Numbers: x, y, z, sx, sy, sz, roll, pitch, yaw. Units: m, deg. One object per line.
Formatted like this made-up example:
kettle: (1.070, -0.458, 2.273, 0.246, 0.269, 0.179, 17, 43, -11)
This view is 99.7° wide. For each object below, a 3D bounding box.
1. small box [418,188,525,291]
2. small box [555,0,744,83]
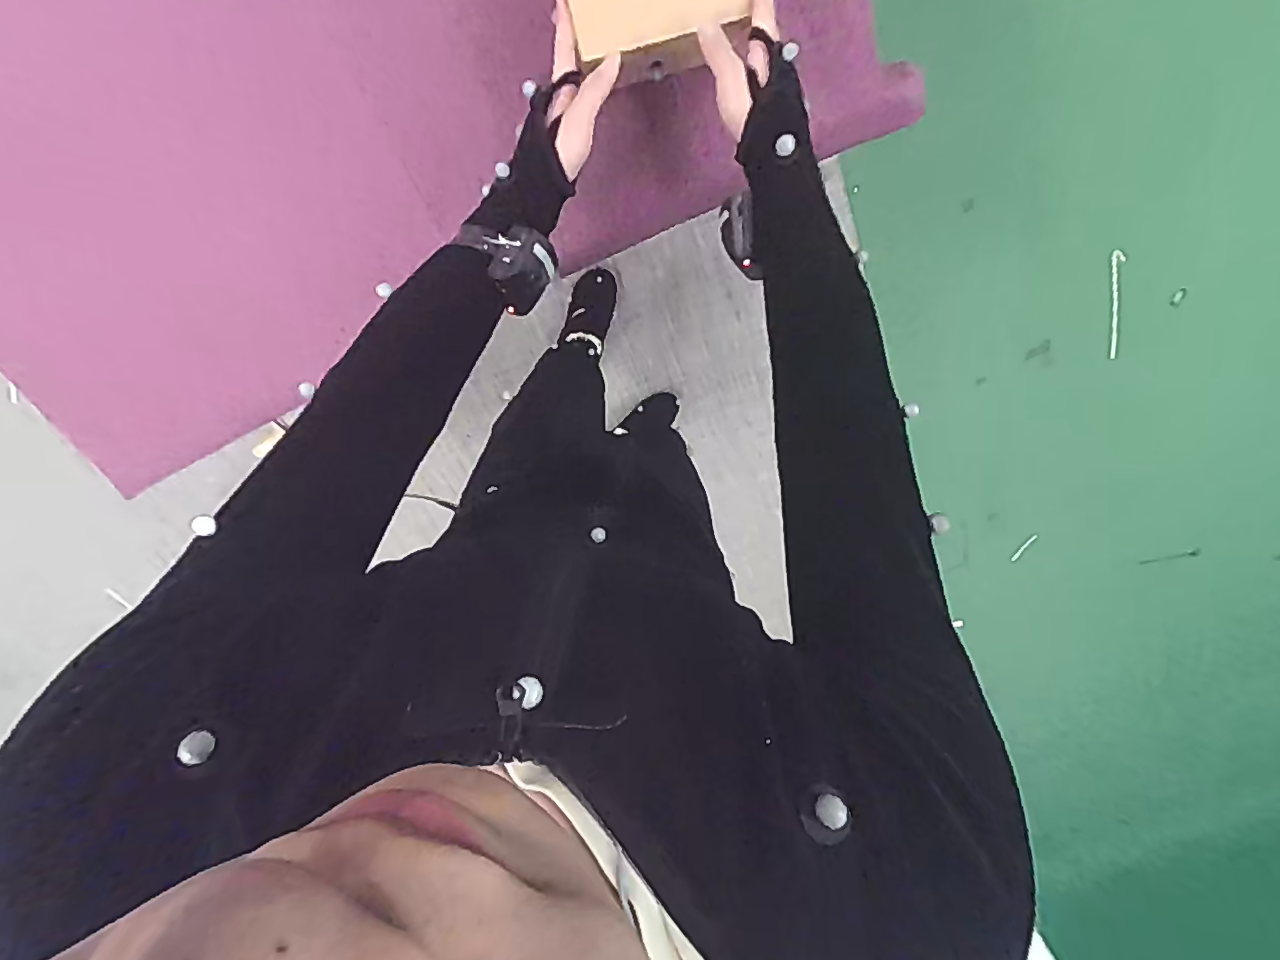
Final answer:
small box: (-0.385, -0.571, 1.280, 0.179, 0.176, 0.168, -22, 115, 8)
small box: (-0.004, -0.507, 0.517, 0.168, 0.176, 0.179, -12, 117, 4)
